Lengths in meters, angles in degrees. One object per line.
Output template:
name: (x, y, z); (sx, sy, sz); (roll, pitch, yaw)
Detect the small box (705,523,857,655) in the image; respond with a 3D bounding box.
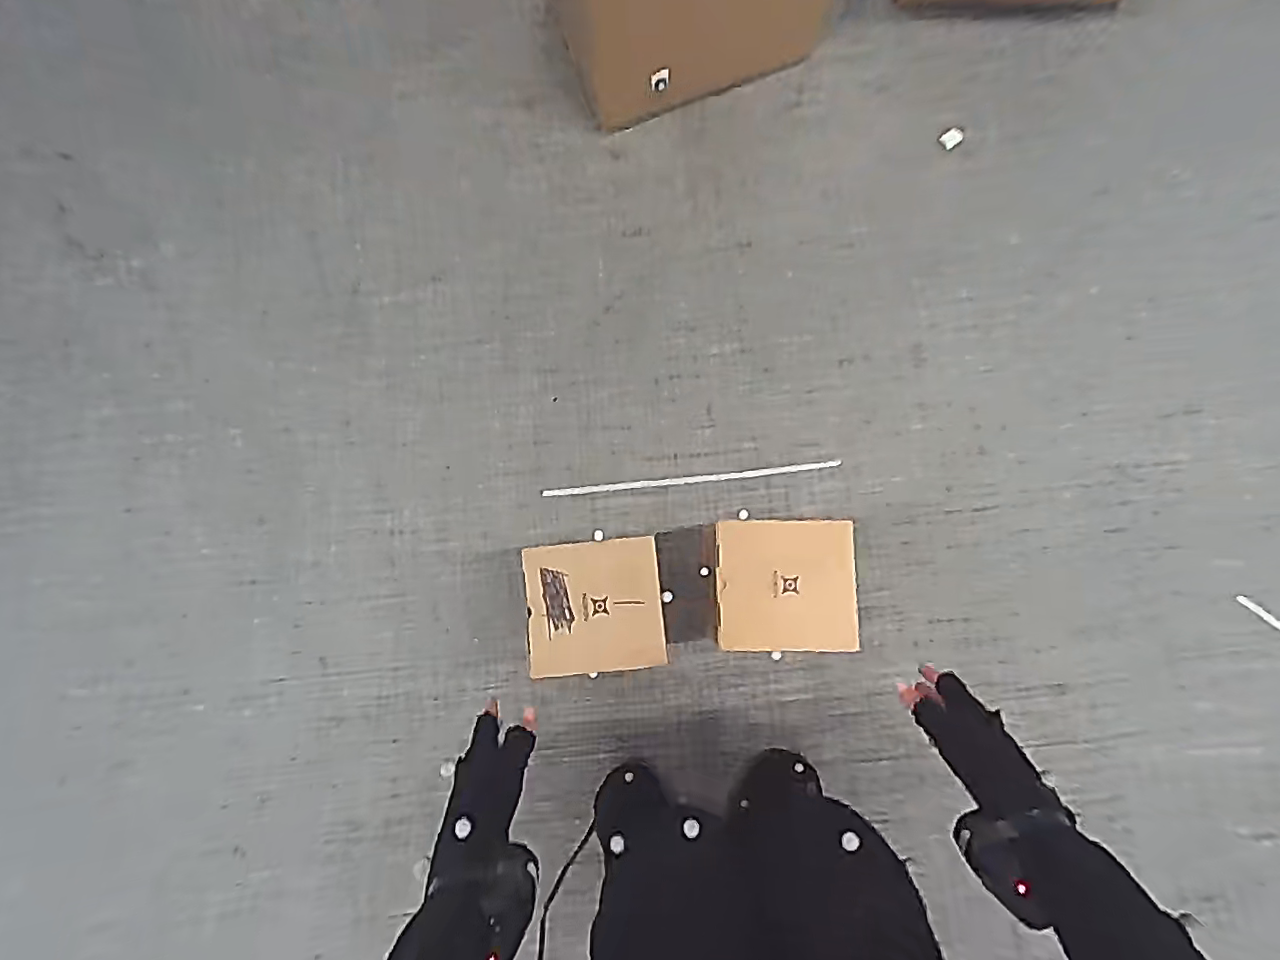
small box: (0.186, 0.146, 0.760); (0.179, 0.176, 0.168); (-1, 82, 3)

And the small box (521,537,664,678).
small box: (-0.059, 0.174, 0.763); (0.179, 0.176, 0.168); (-6, 82, 0)
